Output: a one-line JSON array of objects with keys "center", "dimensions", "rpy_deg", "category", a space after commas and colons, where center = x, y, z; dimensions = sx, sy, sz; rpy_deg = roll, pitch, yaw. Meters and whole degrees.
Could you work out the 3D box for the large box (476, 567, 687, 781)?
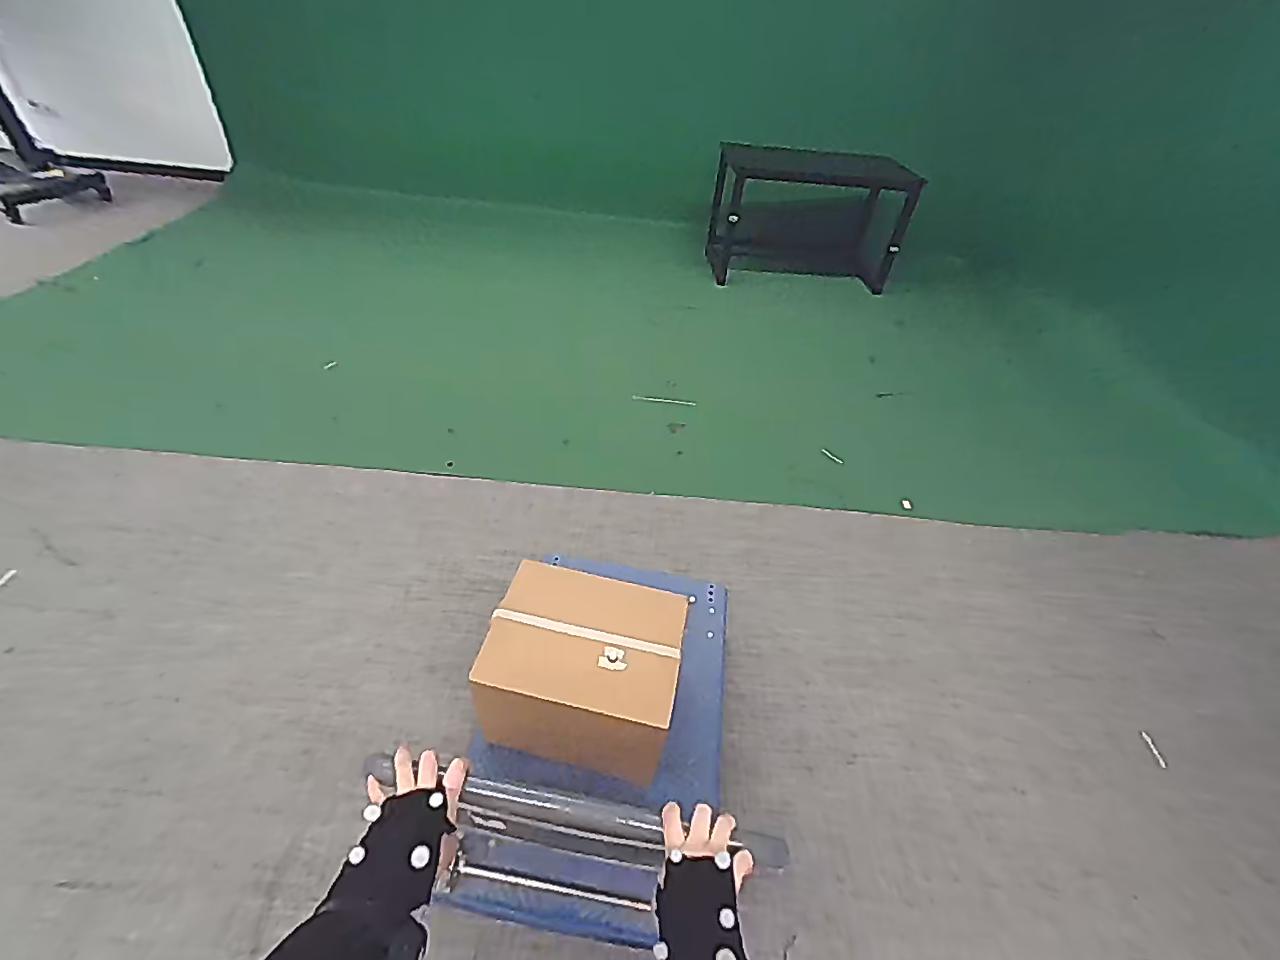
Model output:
[{"center": [-0.126, 0.452, 1.270], "dimensions": [0.408, 0.320, 0.320], "rpy_deg": [12, 43, 4], "category": "large box"}]
